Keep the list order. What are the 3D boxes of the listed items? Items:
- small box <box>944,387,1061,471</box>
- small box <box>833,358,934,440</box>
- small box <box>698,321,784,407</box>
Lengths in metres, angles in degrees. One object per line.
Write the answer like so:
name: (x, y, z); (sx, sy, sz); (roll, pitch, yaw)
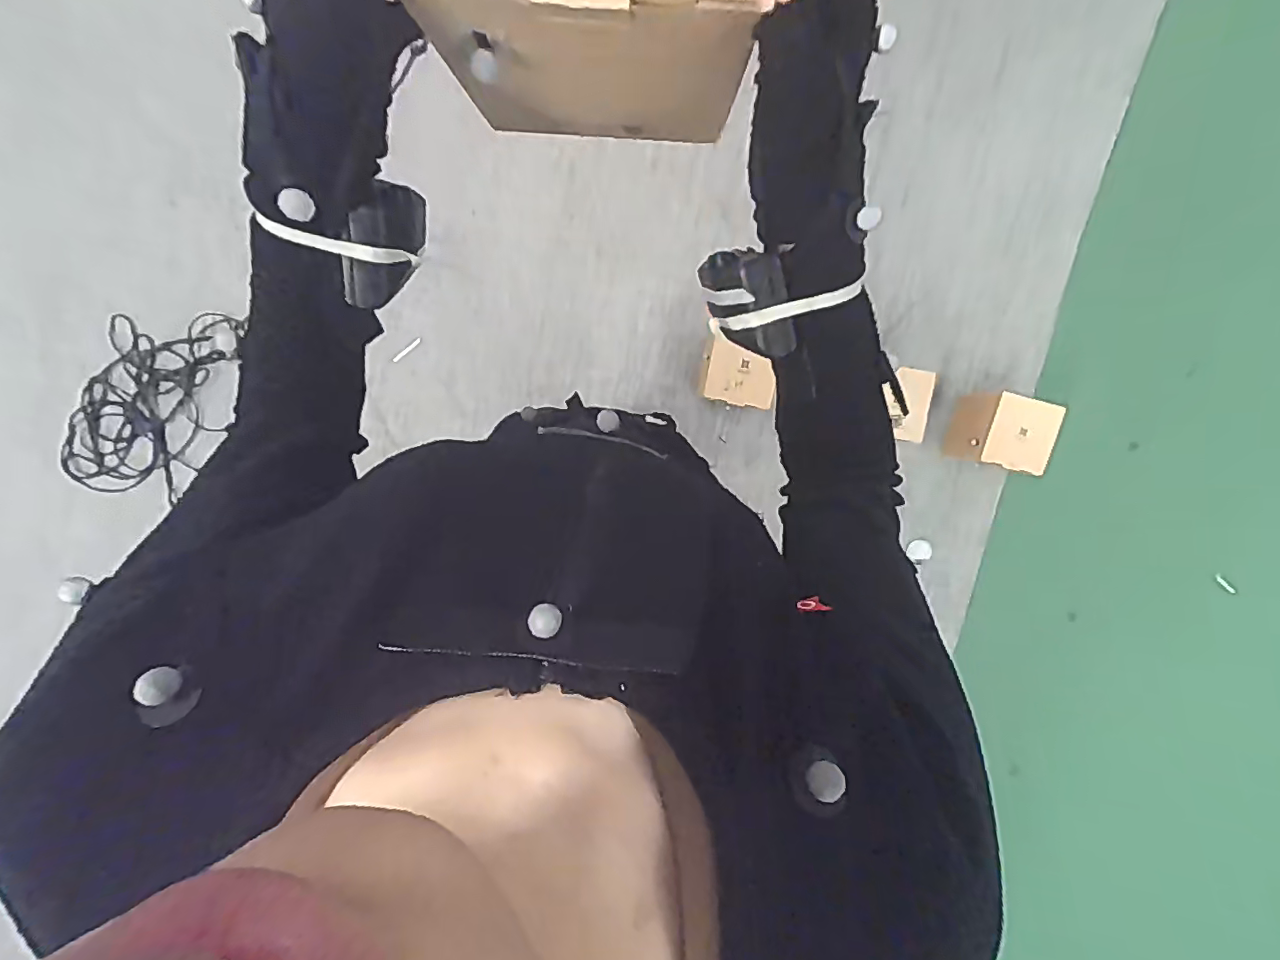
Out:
small box: (0.928, -0.133, 1.401); (0.168, 0.176, 0.179); (14, 97, -2)
small box: (0.612, -0.205, 1.385); (0.168, 0.176, 0.179); (9, 96, -2)
small box: (0.246, -0.287, 1.366); (0.168, 0.176, 0.179); (11, 97, -1)
